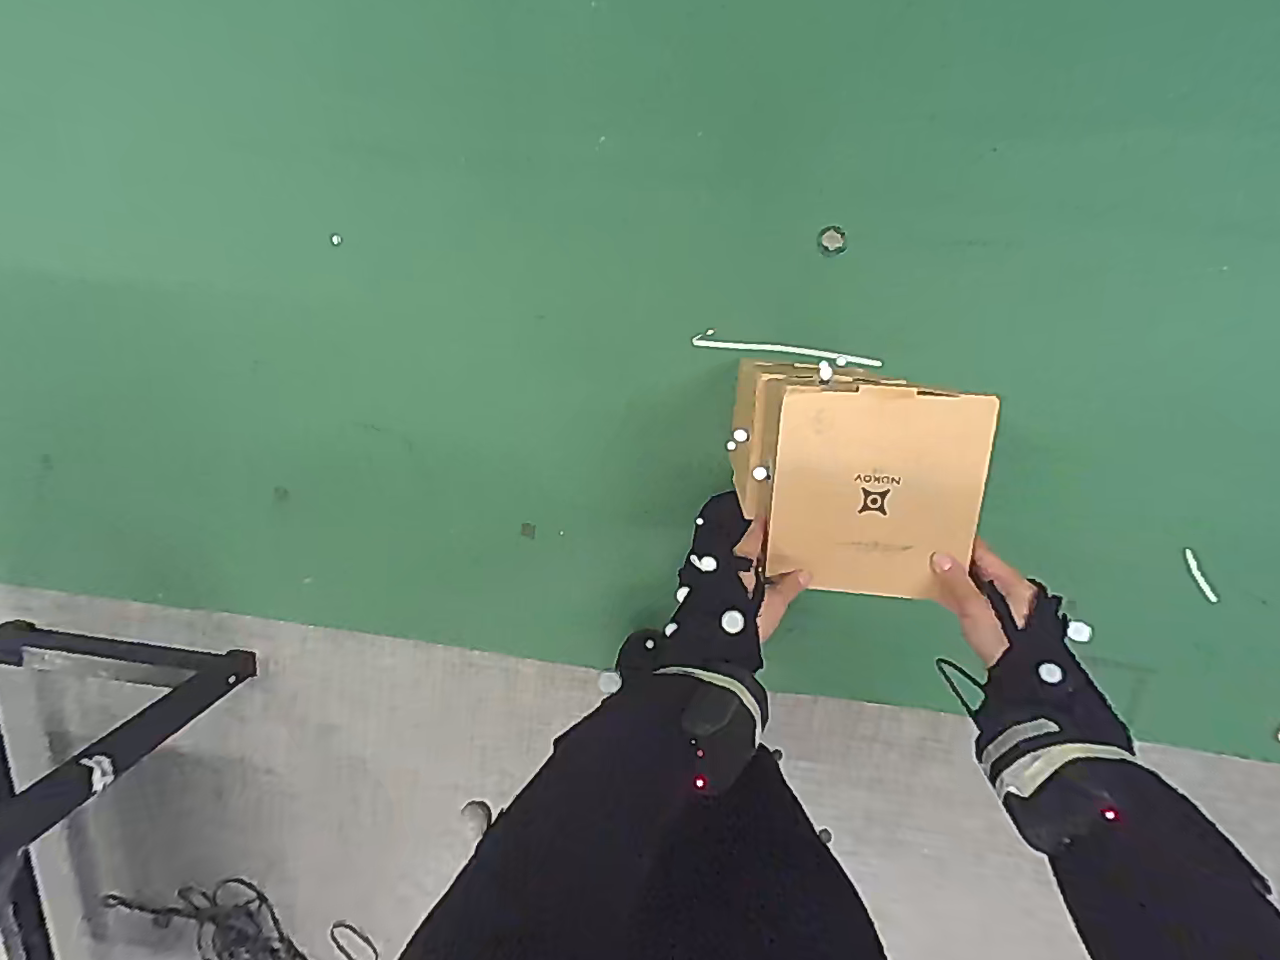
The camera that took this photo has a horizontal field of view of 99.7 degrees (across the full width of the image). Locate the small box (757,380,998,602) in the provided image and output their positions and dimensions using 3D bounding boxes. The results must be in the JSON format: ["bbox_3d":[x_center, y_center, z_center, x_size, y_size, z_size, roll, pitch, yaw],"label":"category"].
[{"bbox_3d":[0.205,-0.004,0.523,0.168,0.176,0.179,4,103,8],"label":"small box"}]

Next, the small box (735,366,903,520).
[{"bbox_3d":[0.216,-0.050,0.700,0.168,0.176,0.179,4,105,4],"label":"small box"}]
